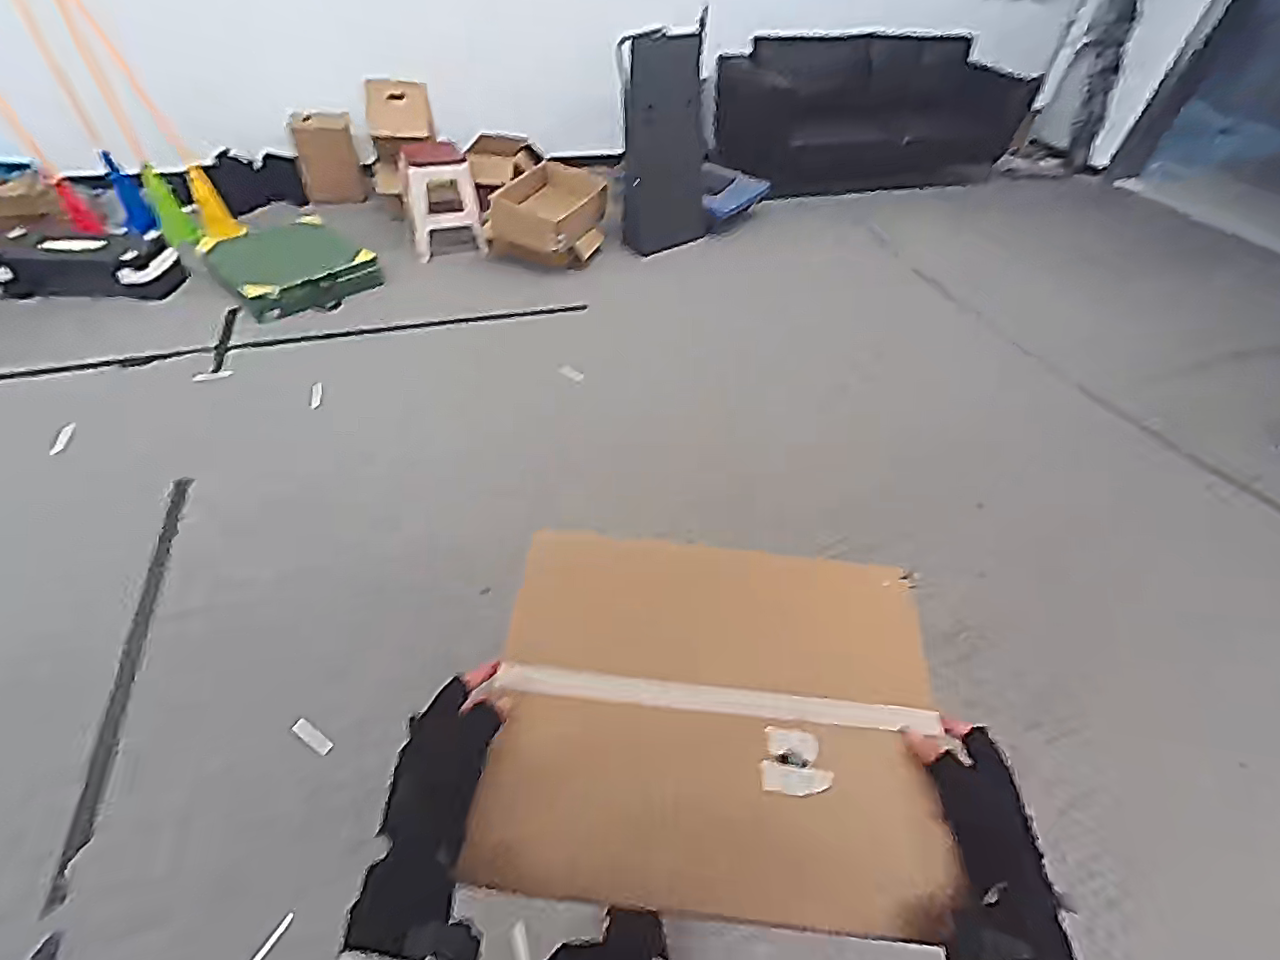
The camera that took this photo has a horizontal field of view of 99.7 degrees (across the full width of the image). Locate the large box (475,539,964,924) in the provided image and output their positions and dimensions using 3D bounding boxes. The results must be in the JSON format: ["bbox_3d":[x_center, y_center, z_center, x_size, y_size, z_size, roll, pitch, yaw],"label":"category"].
[{"bbox_3d":[0.066,0.293,0.636,0.408,0.320,0.320,6,56,1],"label":"large box"}]
